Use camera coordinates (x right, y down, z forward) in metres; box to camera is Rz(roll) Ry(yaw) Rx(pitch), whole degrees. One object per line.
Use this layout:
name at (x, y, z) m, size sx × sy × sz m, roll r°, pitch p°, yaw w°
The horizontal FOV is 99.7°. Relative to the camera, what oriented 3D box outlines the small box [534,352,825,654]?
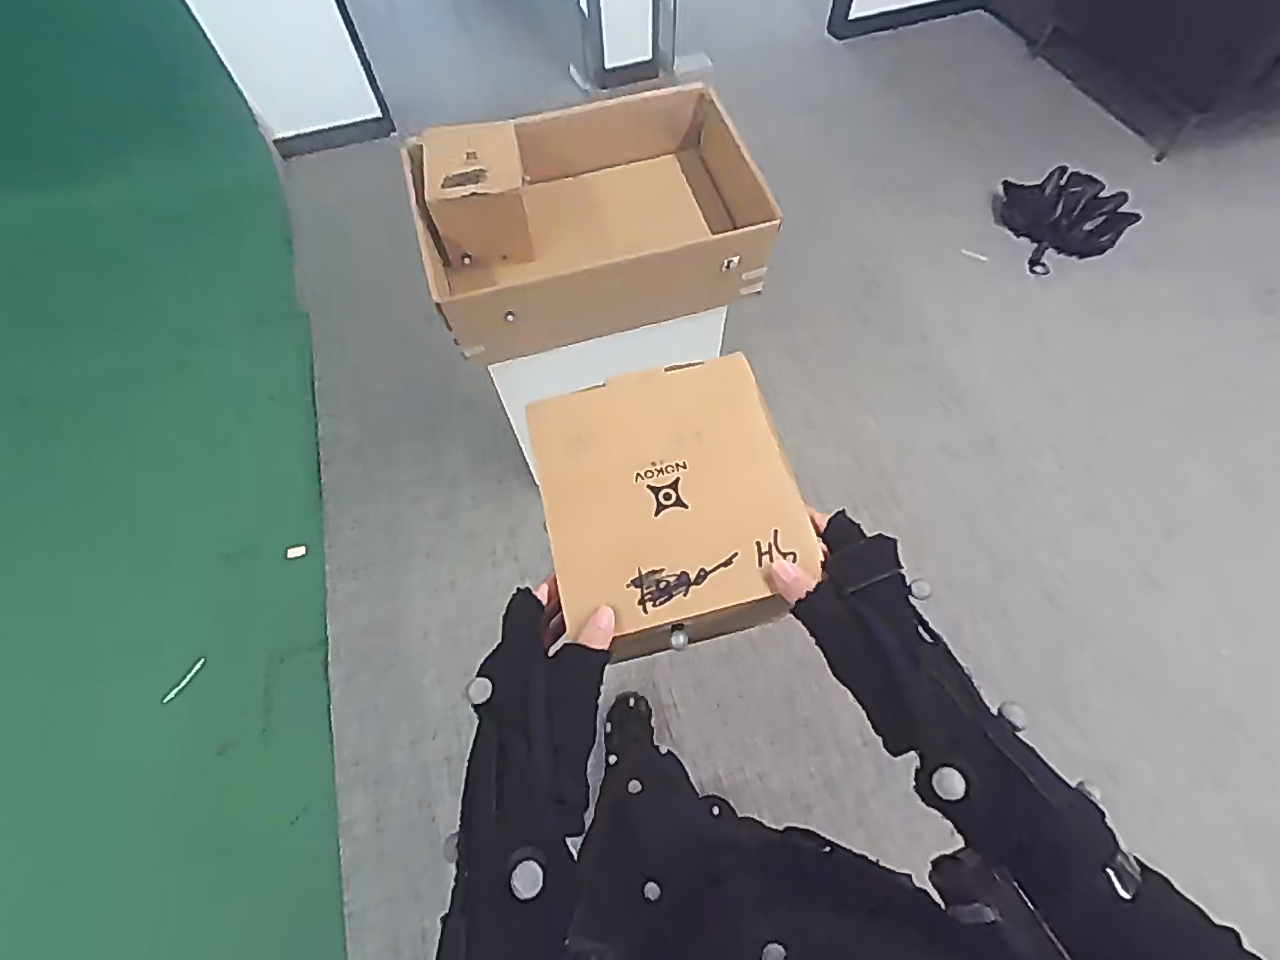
small box at (0.023, 0.030, 0.440) m, size 0.168 × 0.176 × 0.179 m, roll -14°, pitch 67°, yaw -1°
